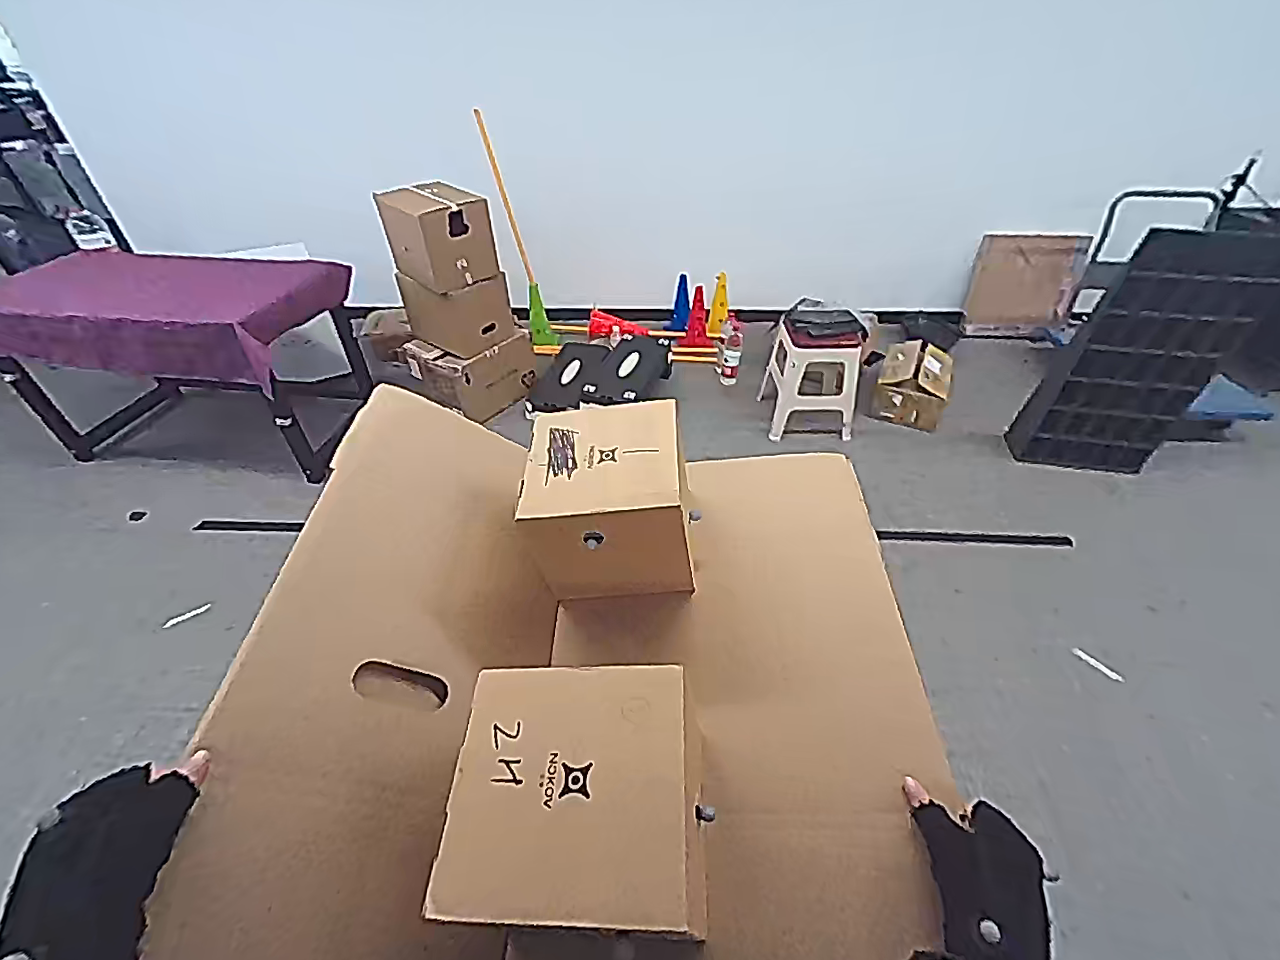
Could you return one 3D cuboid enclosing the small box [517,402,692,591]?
[{"bbox_3d":[-0.032,0.027,0.677,0.179,0.176,0.168,-5,48,7],"label":"small box"}]

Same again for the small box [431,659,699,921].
[{"bbox_3d":[-0.041,0.267,0.466,0.179,0.176,0.168,-4,48,9],"label":"small box"}]
